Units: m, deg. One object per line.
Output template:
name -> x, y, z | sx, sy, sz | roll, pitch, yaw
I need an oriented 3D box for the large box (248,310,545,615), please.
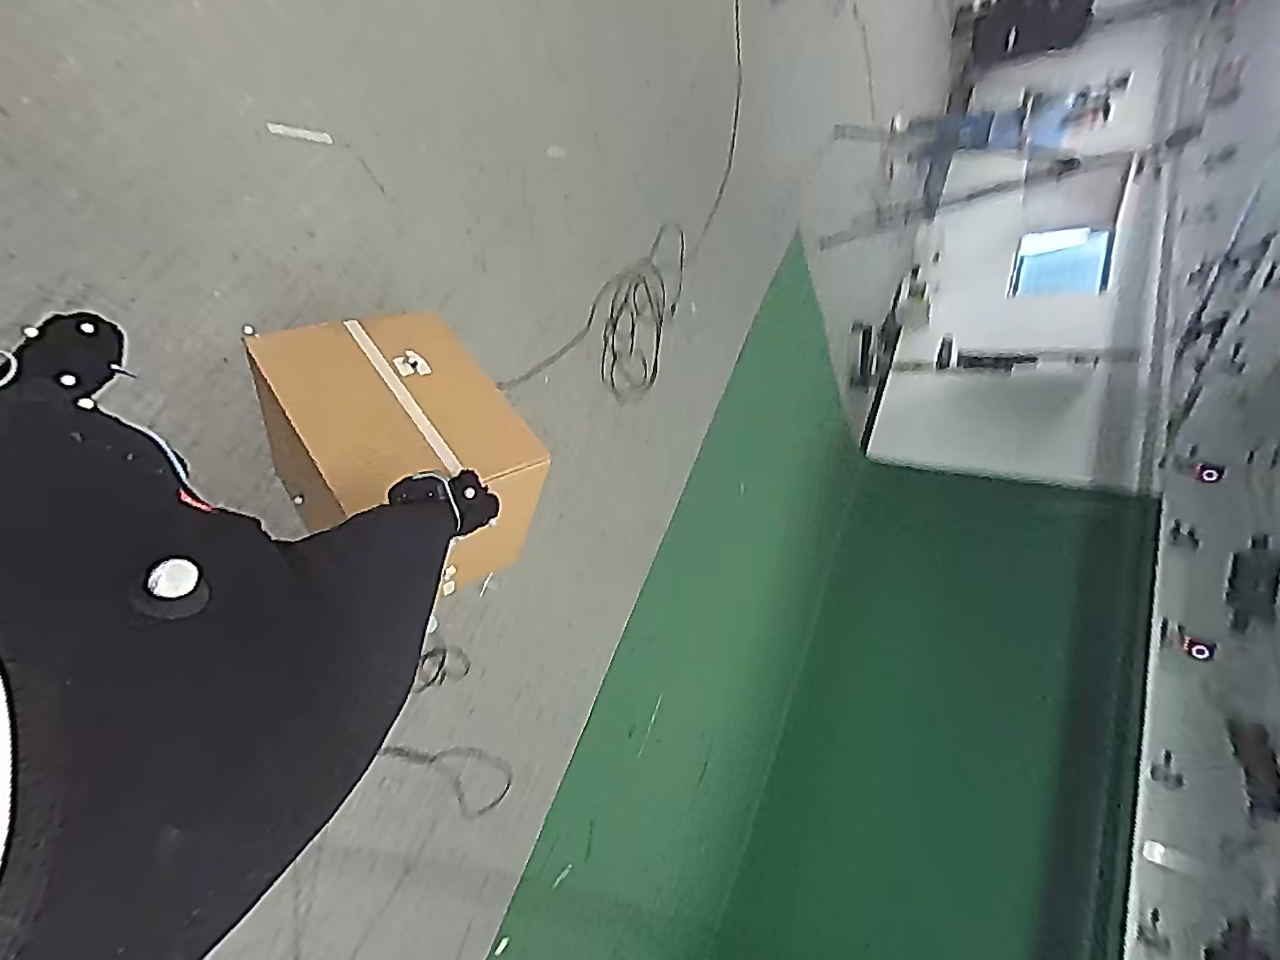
large box -> -0.431, -0.043, 0.977 | 0.320, 0.408, 0.320 | -23, 153, -38
